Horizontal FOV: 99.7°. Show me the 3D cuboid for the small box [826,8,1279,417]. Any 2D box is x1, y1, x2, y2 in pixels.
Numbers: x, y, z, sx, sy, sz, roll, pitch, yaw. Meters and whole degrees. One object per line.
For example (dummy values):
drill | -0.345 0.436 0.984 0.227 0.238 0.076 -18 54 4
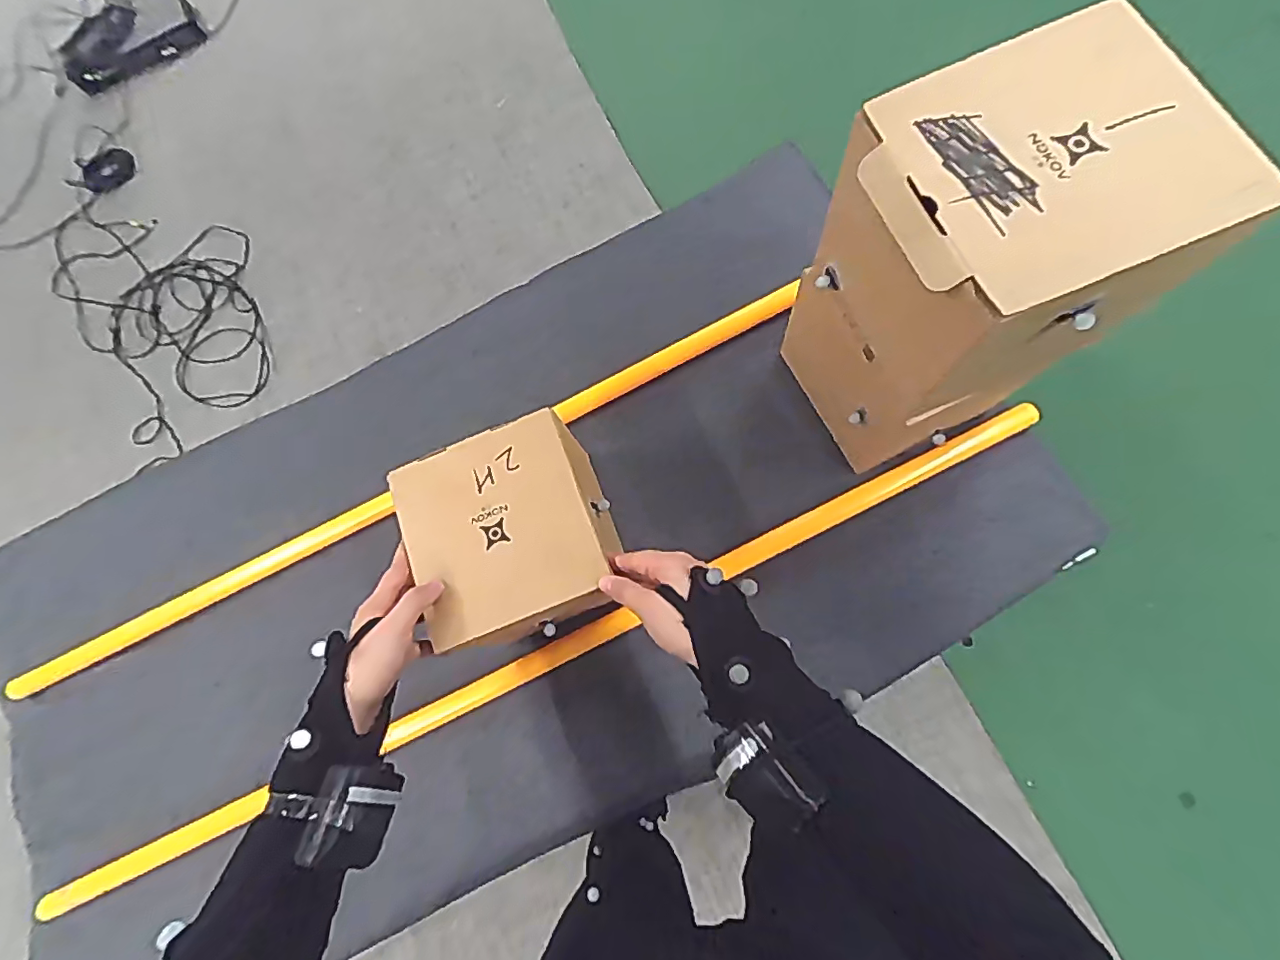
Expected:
small box | 0.253 -0.167 0.390 0.179 0.176 0.168 -22 75 1
